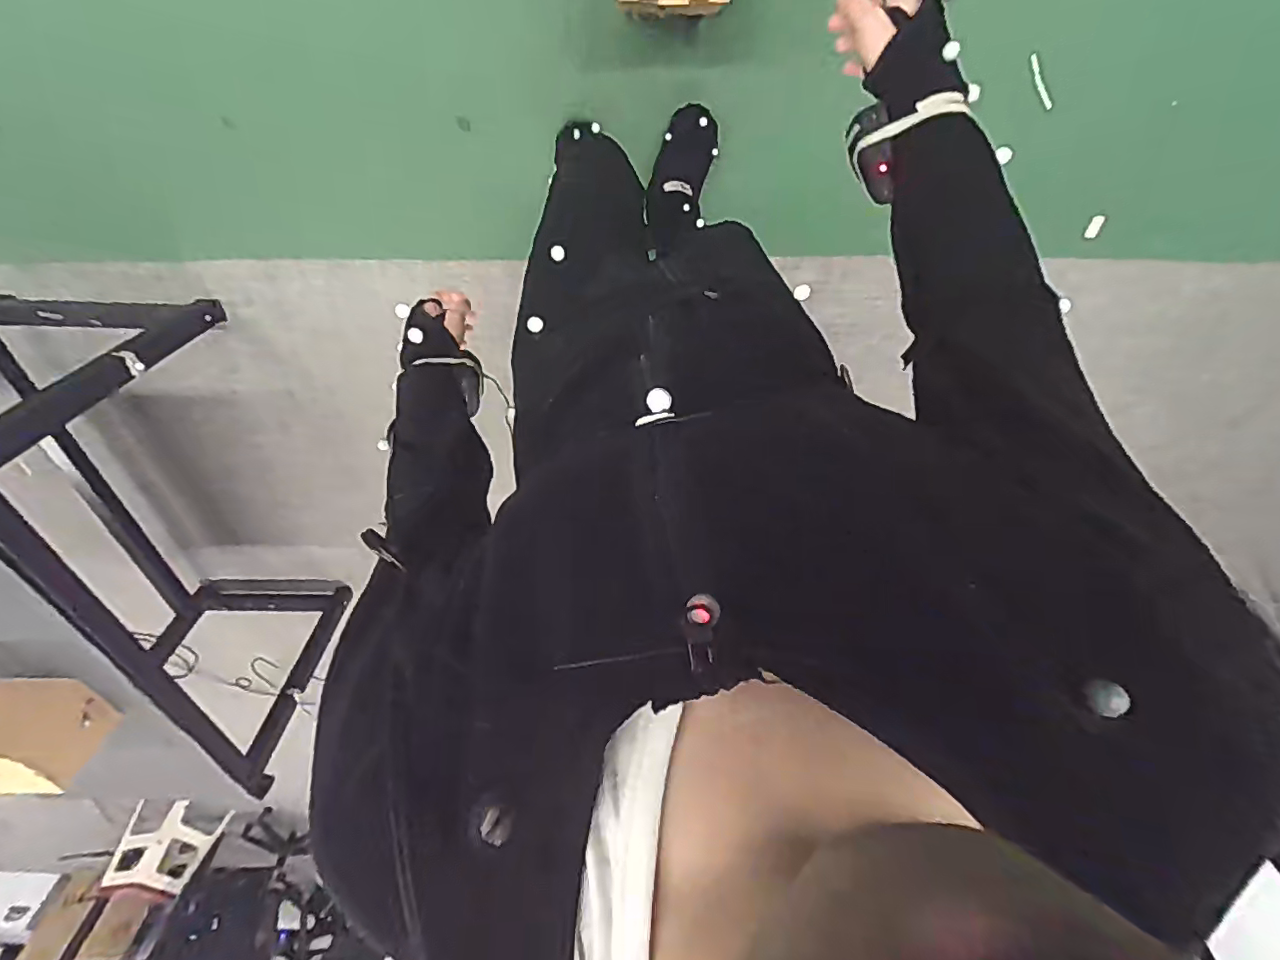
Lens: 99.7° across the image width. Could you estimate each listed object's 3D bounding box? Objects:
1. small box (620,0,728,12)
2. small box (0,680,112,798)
[{"bbox_3d":[0.046,-0.803,0.784,0.168,0.176,0.179,0,128,-1],"label":"small box"},{"bbox_3d":[-1.281,0.533,1.120,0.179,0.176,0.168,1,129,0],"label":"small box"}]
